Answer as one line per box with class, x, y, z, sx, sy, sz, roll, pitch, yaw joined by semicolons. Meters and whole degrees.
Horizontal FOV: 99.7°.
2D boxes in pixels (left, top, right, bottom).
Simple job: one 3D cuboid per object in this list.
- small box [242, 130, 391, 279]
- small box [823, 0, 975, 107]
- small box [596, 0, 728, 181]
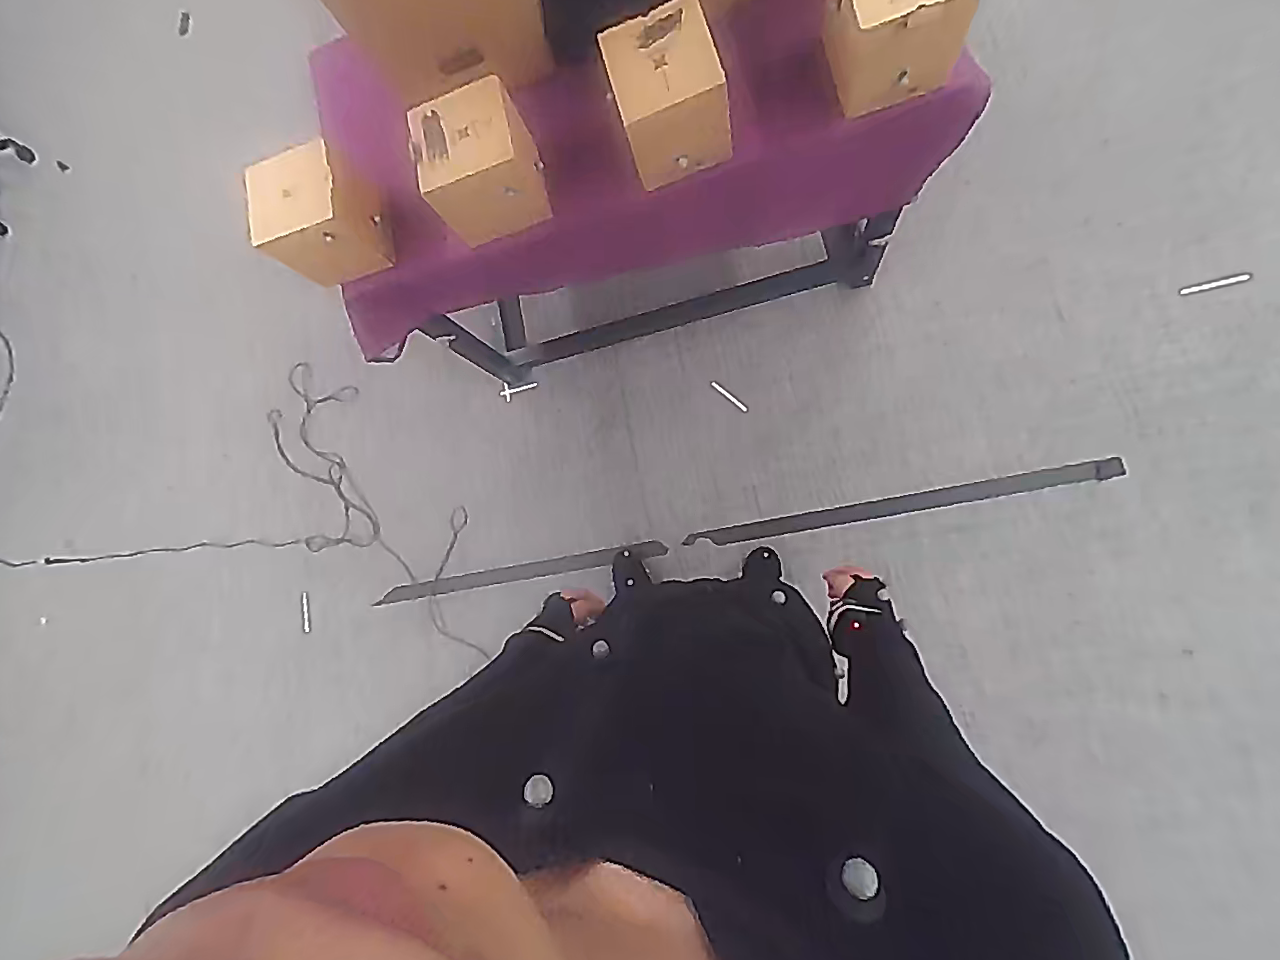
small box;-0.613;-0.514;1.037;0.179;0.176;0.168;-13;81;10
small box;0.387;-0.731;0.830;0.168;0.176;0.179;-12;81;13
small box;0.044;-0.650;0.902;0.168;0.176;0.179;-17;81;11
